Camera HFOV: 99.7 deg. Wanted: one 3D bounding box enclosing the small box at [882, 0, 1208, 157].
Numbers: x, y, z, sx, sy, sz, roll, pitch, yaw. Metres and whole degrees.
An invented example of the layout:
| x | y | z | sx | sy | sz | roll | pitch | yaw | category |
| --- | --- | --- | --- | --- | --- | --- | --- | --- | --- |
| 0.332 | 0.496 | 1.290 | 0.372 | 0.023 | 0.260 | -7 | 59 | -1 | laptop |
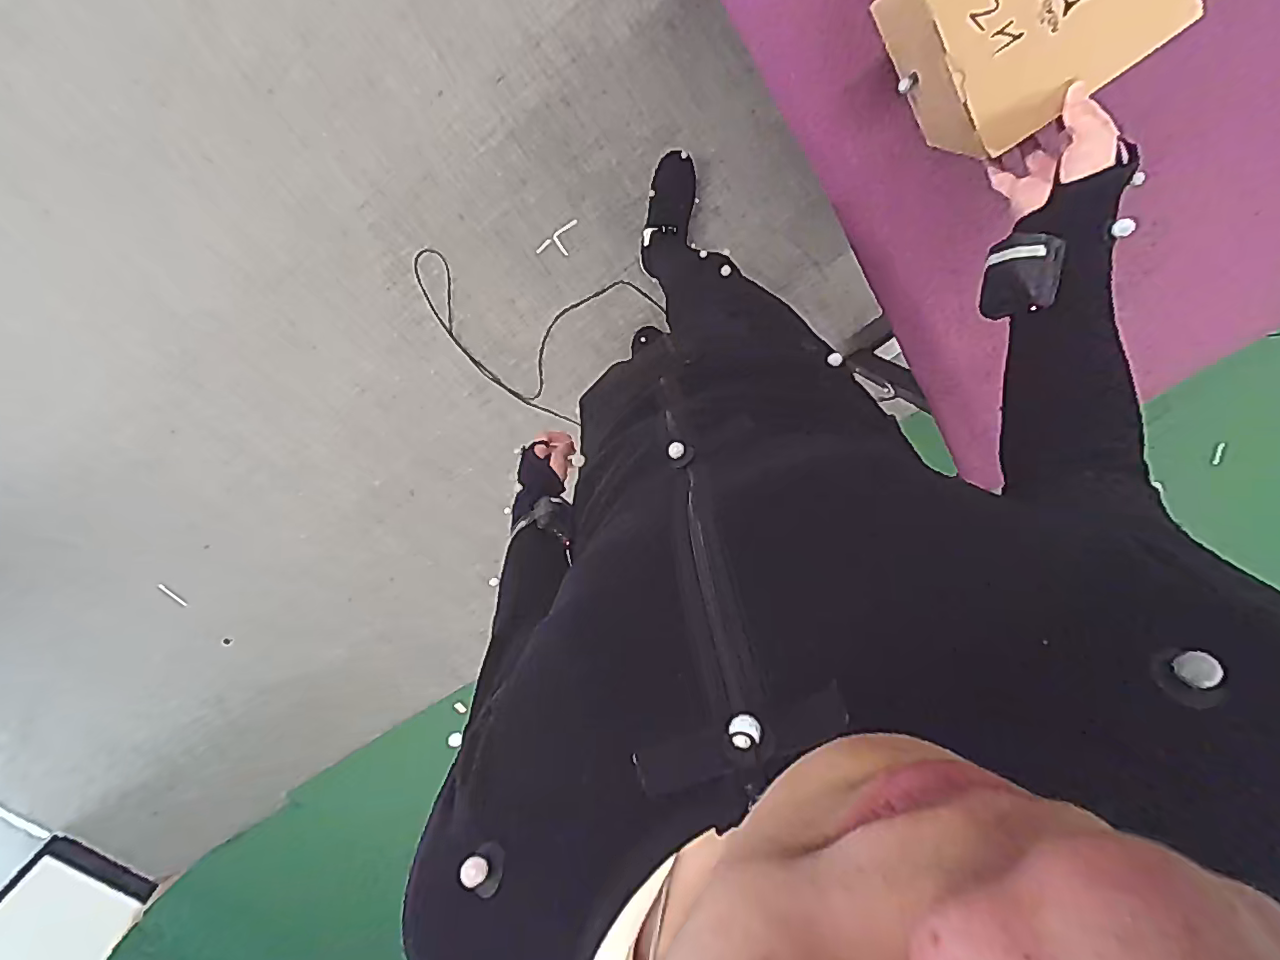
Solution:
| x | y | z | sx | sy | sz | roll | pitch | yaw | category |
| --- | --- | --- | --- | --- | --- | --- | --- | --- | --- |
| 0.363 | -0.450 | 0.513 | 0.179 | 0.176 | 0.168 | -29 | 118 | 26 | small box |
